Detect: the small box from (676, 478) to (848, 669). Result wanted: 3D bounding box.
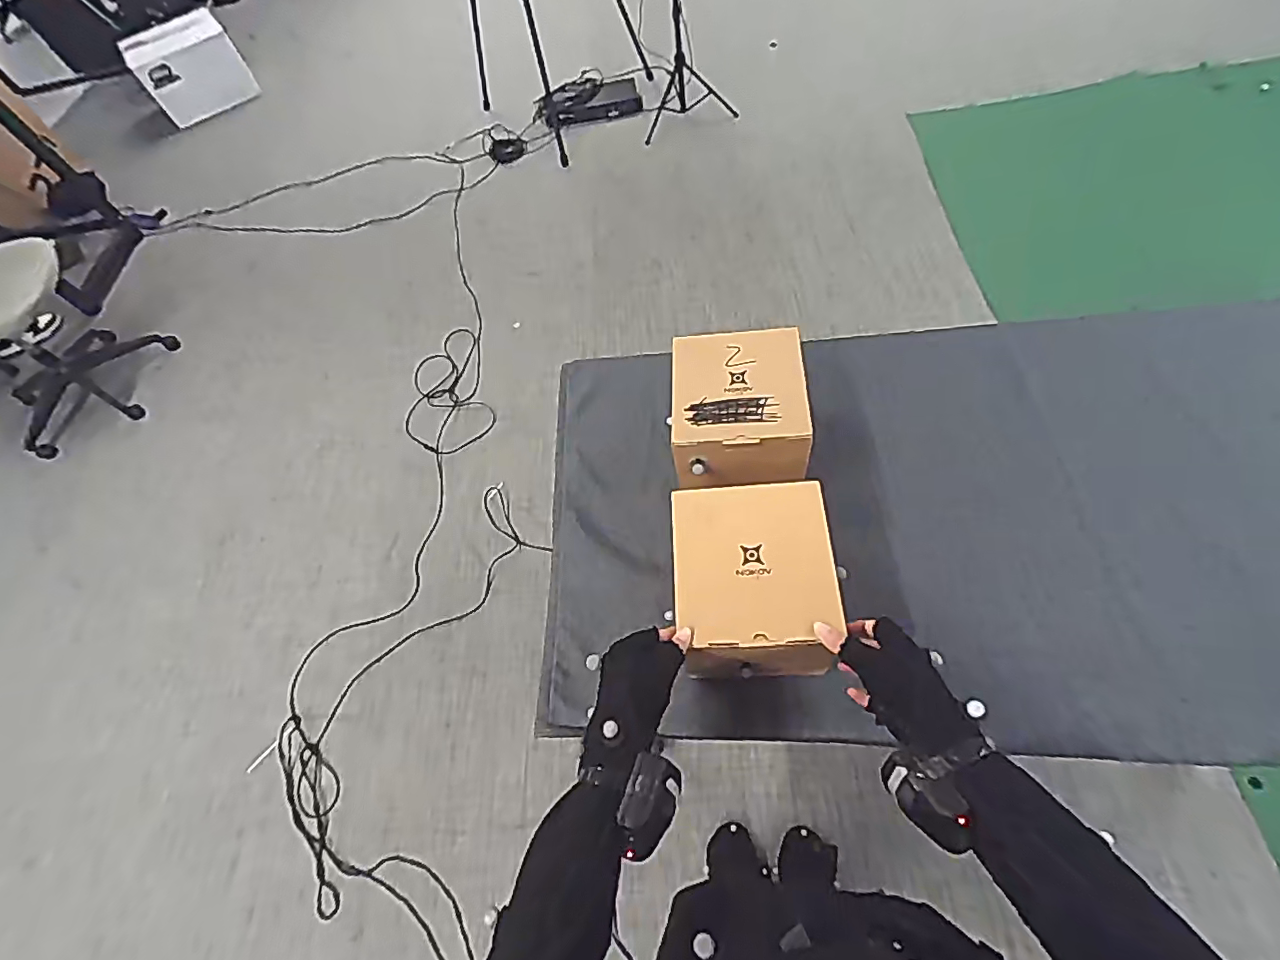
[{"bbox_3d":[0.131,0.117,0.638,0.168,0.176,0.179,-5,61,7],"label":"small box"}]
